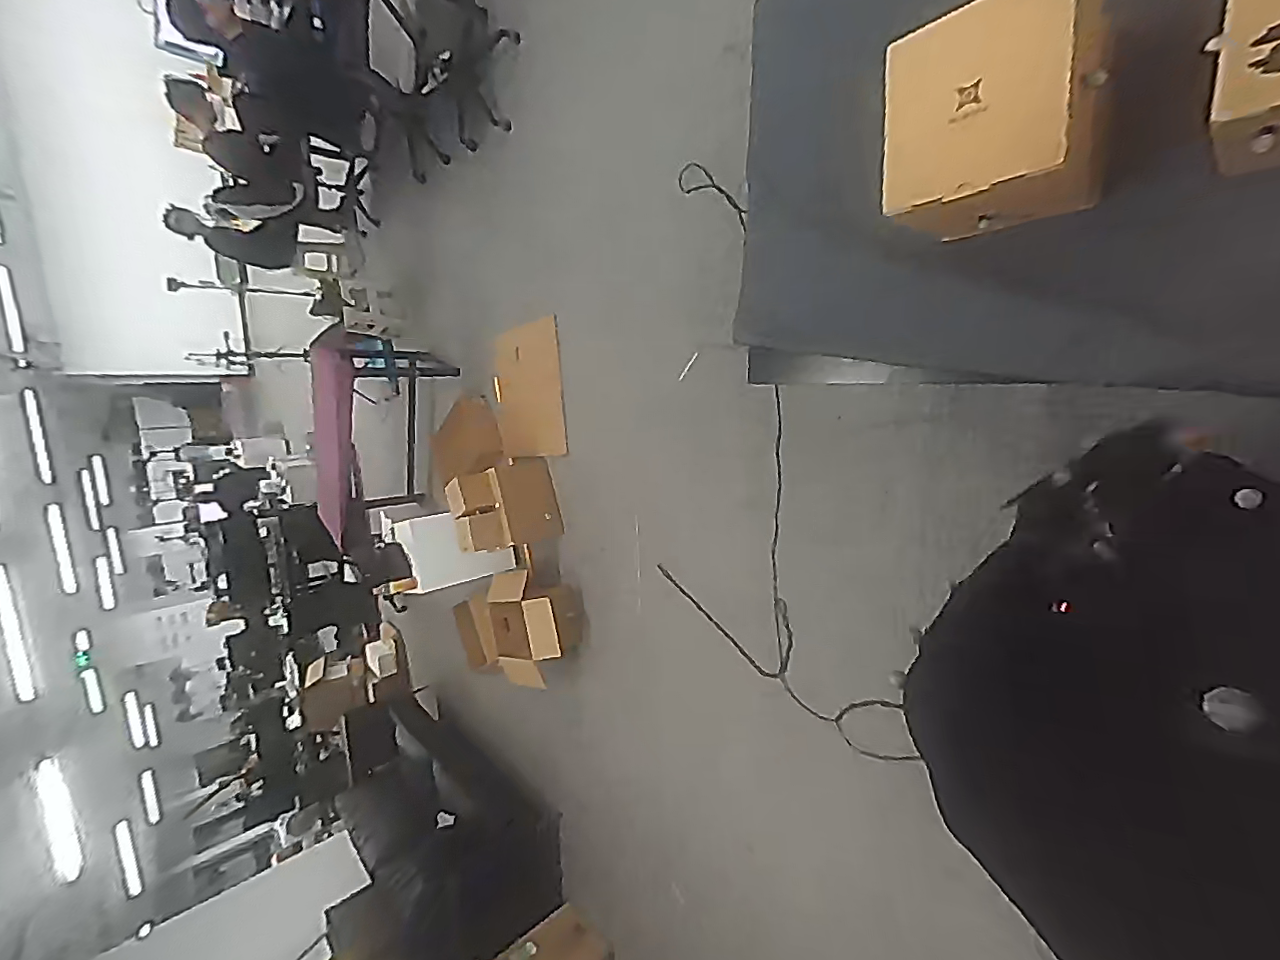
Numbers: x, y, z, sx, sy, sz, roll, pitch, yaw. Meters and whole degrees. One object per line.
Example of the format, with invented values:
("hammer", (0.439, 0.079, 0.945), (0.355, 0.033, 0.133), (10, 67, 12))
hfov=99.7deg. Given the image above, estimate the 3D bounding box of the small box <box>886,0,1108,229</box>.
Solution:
("small box", (0.390, -0.398, 0.592), (0.168, 0.176, 0.179), (7, 103, 48))
